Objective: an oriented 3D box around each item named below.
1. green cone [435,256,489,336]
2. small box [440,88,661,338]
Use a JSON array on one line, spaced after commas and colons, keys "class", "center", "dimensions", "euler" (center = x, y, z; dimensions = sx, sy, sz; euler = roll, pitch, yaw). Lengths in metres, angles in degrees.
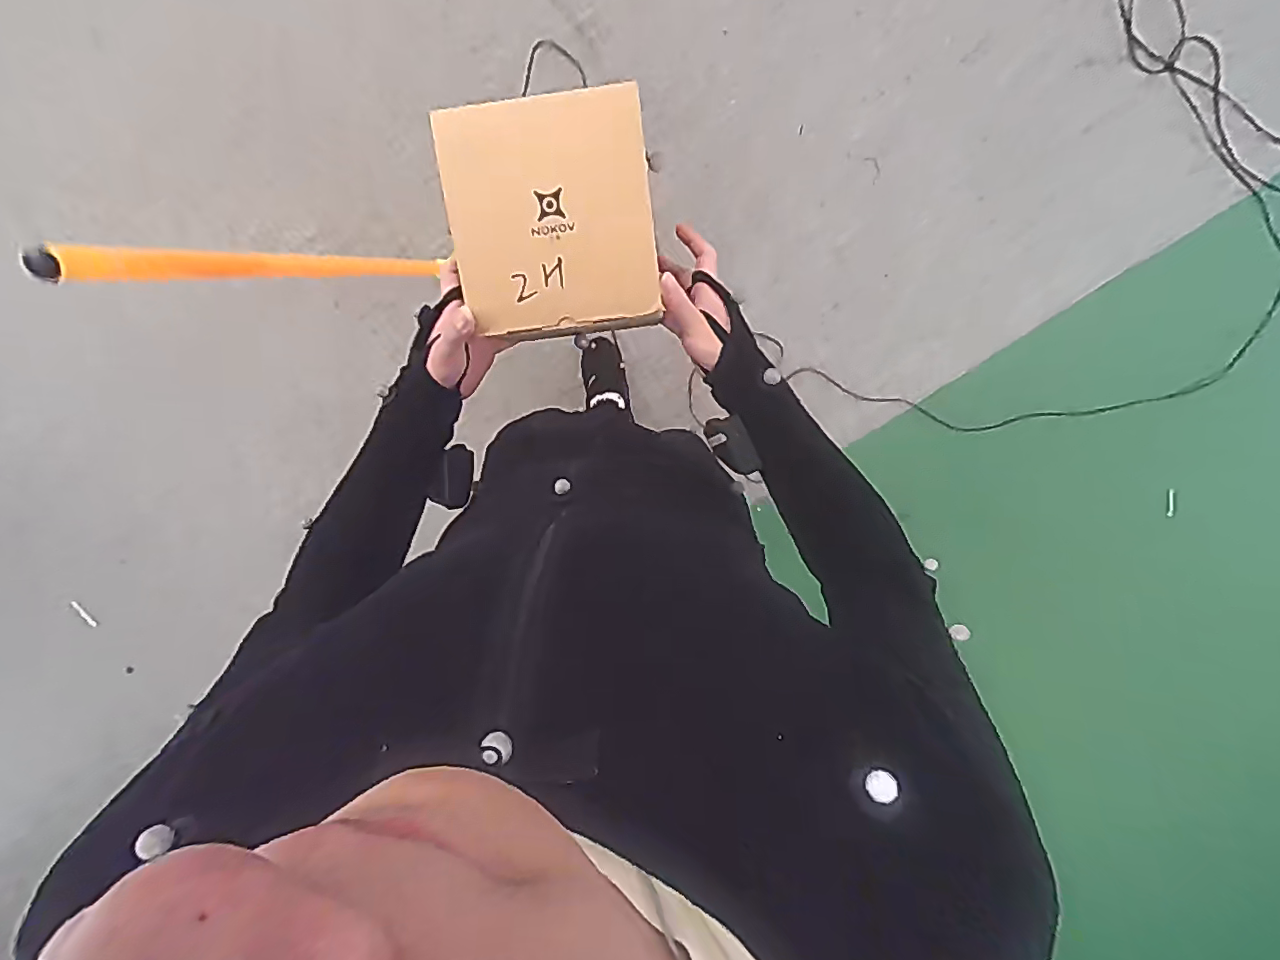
[{"class": "green cone", "center": [-0.431, -0.497, 1.349], "dimensions": [0.202, 0.368, 0.200], "euler": [-32, 101, 6]}, {"class": "small box", "center": [-0.071, -0.236, 0.523], "dimensions": [0.168, 0.176, 0.179], "euler": [-6, 104, 2]}]
